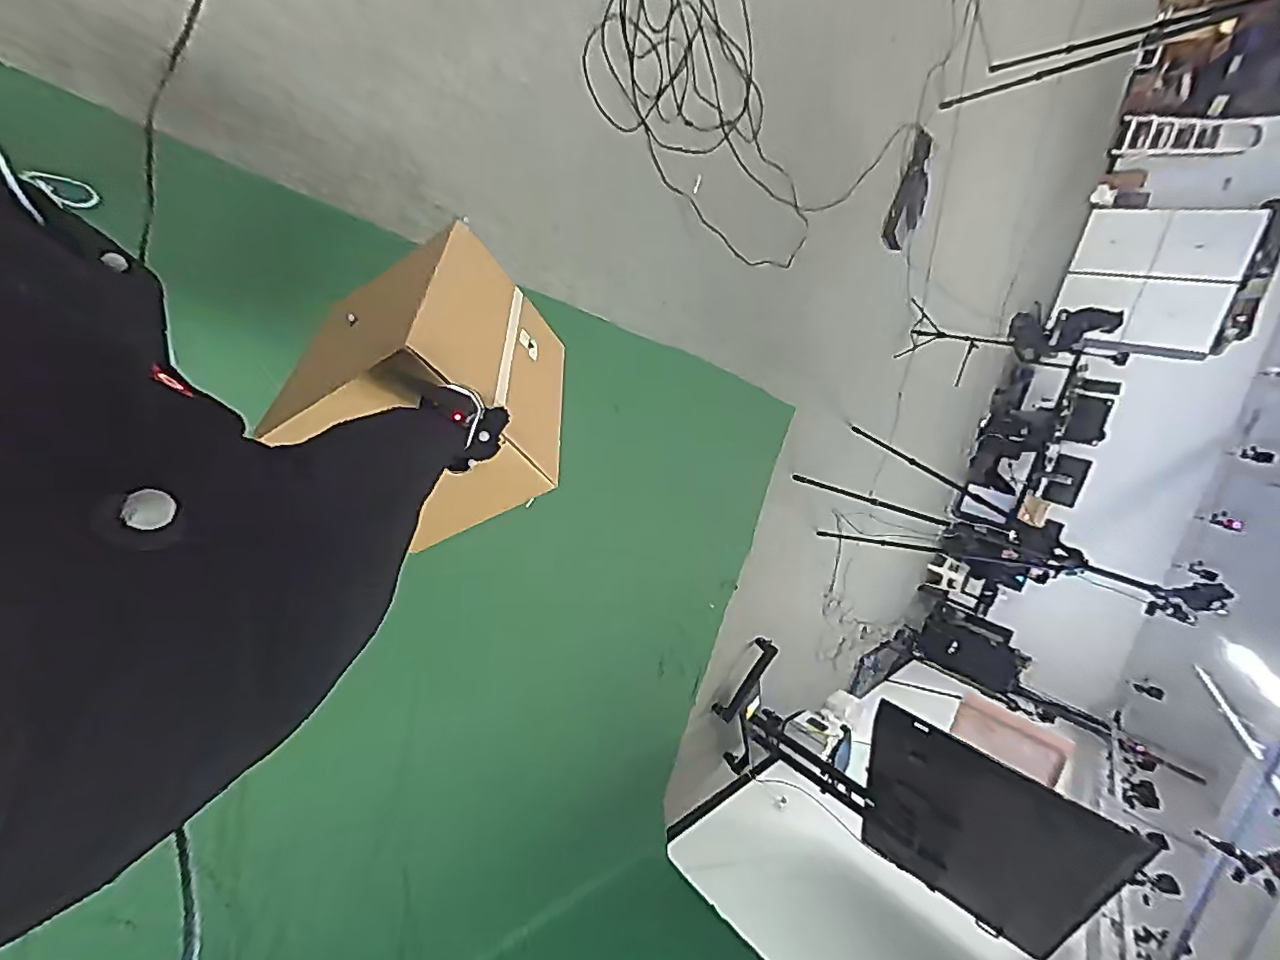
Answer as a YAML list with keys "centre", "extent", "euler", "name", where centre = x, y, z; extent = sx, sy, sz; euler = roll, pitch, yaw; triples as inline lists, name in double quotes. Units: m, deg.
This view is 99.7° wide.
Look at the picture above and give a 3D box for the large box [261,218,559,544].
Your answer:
- centre: [-0.357, -0.164, 0.945]
  extent: [0.320, 0.408, 0.320]
  euler: [-24, 134, 18]
  name: "large box"
